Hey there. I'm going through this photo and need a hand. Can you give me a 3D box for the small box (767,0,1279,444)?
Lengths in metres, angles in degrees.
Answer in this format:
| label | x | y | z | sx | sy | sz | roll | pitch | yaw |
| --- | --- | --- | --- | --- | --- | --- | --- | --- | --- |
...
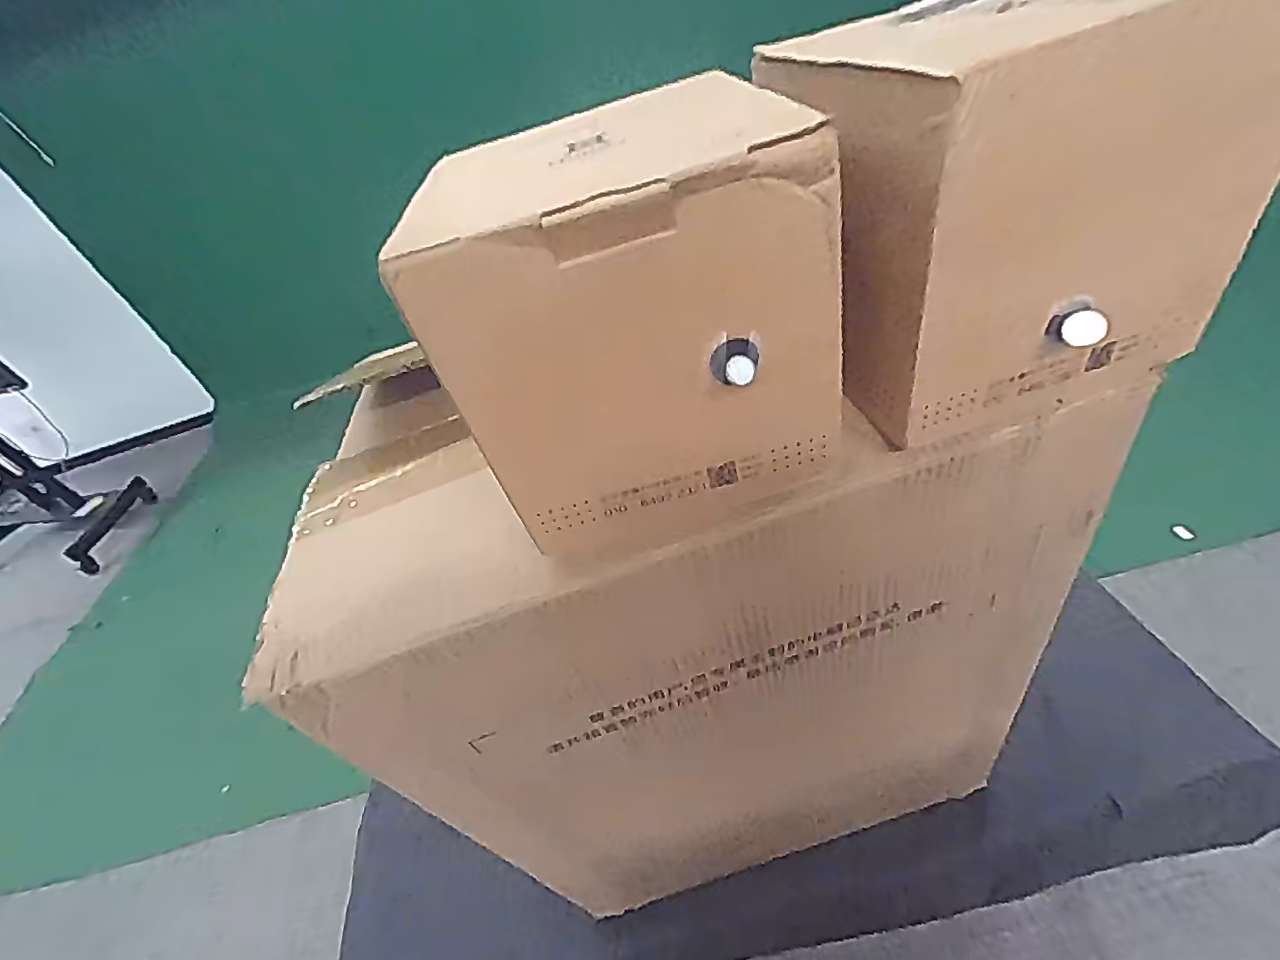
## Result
| label | x | y | z | sx | sy | sz | roll | pitch | yaw |
| --- | --- | --- | --- | --- | --- | --- | --- | --- | --- |
| small box | 0.182 | -0.149 | 0.297 | 0.168 | 0.176 | 0.179 | -19 | 42 | 0 |
